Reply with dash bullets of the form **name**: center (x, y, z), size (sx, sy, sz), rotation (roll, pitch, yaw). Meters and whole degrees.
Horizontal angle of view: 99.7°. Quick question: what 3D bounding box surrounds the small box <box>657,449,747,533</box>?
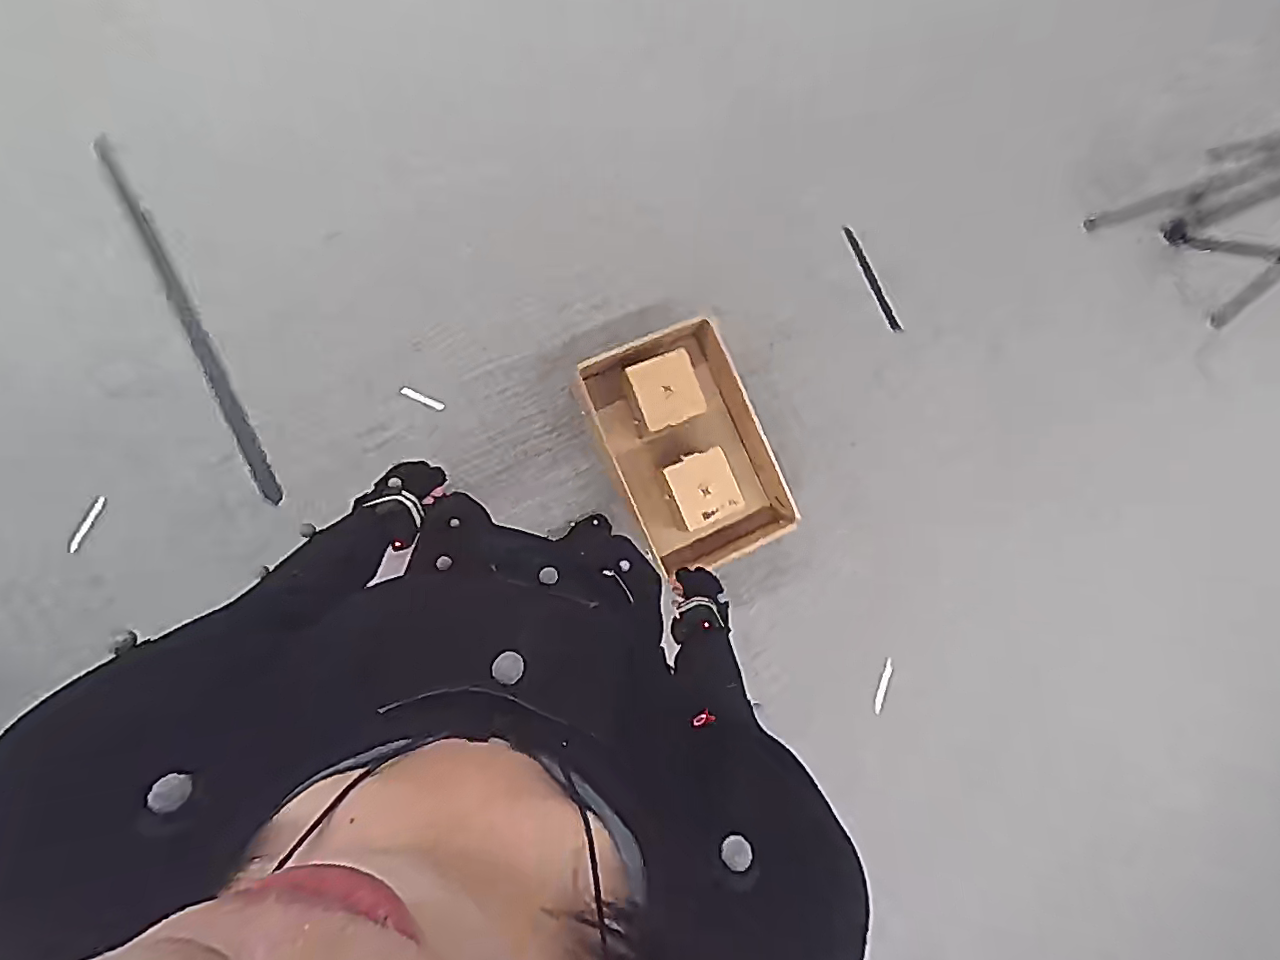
- **small box**: center (0.159, 0.036, 1.452), size (0.168, 0.176, 0.179), rotation (-23, 88, -8)

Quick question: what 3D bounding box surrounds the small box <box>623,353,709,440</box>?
- **small box**: center (0.064, -0.215, 1.451), size (0.168, 0.176, 0.179), rotation (-21, 90, -9)
